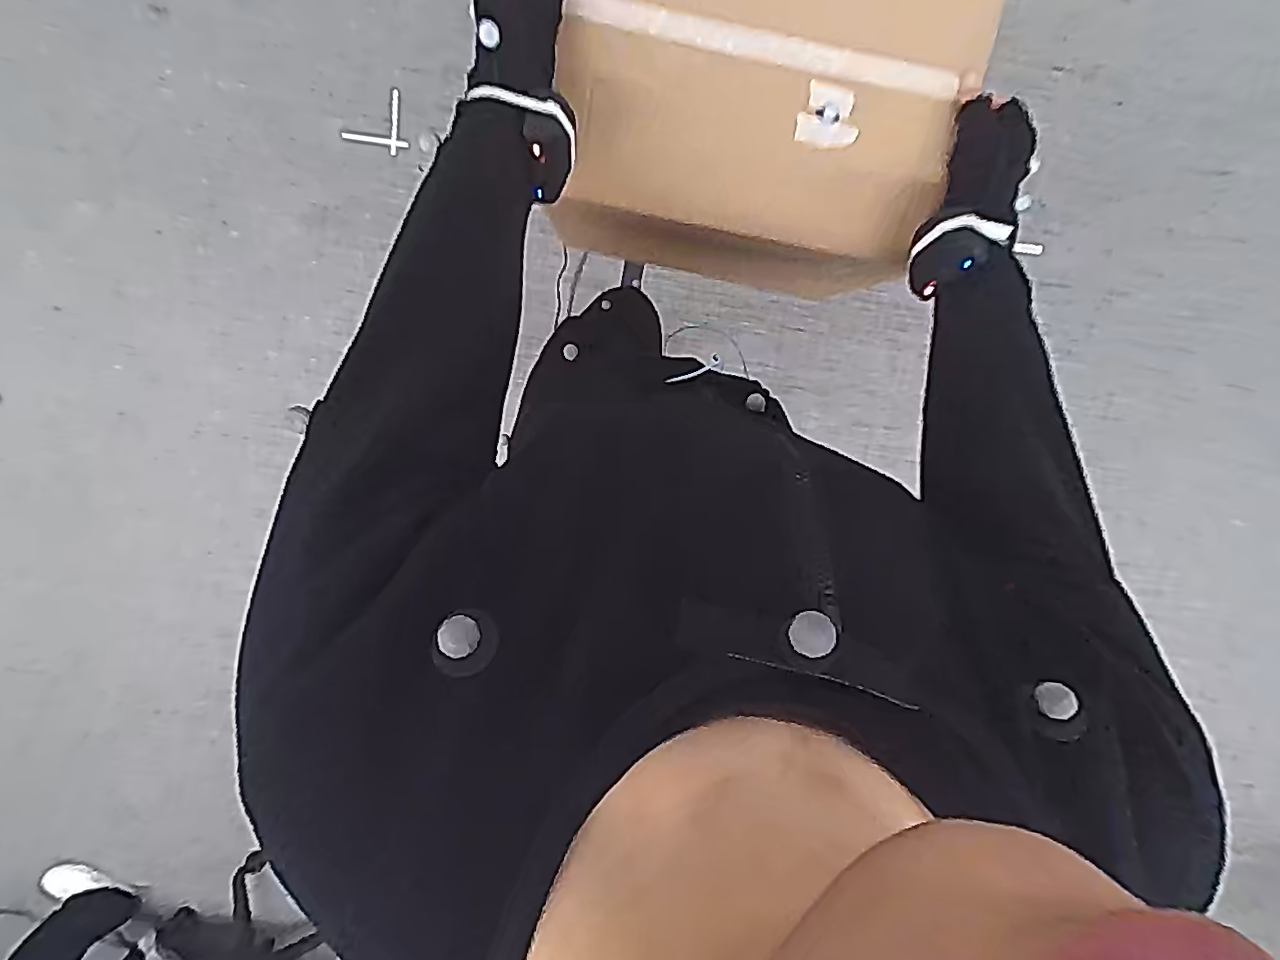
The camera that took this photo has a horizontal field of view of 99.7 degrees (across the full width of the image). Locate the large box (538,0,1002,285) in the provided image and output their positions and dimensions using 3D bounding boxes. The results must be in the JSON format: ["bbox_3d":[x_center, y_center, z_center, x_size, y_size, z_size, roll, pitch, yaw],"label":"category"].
[{"bbox_3d":[0.117,-0.440,0.639,0.408,0.320,0.320,11,104,-4],"label":"large box"}]
